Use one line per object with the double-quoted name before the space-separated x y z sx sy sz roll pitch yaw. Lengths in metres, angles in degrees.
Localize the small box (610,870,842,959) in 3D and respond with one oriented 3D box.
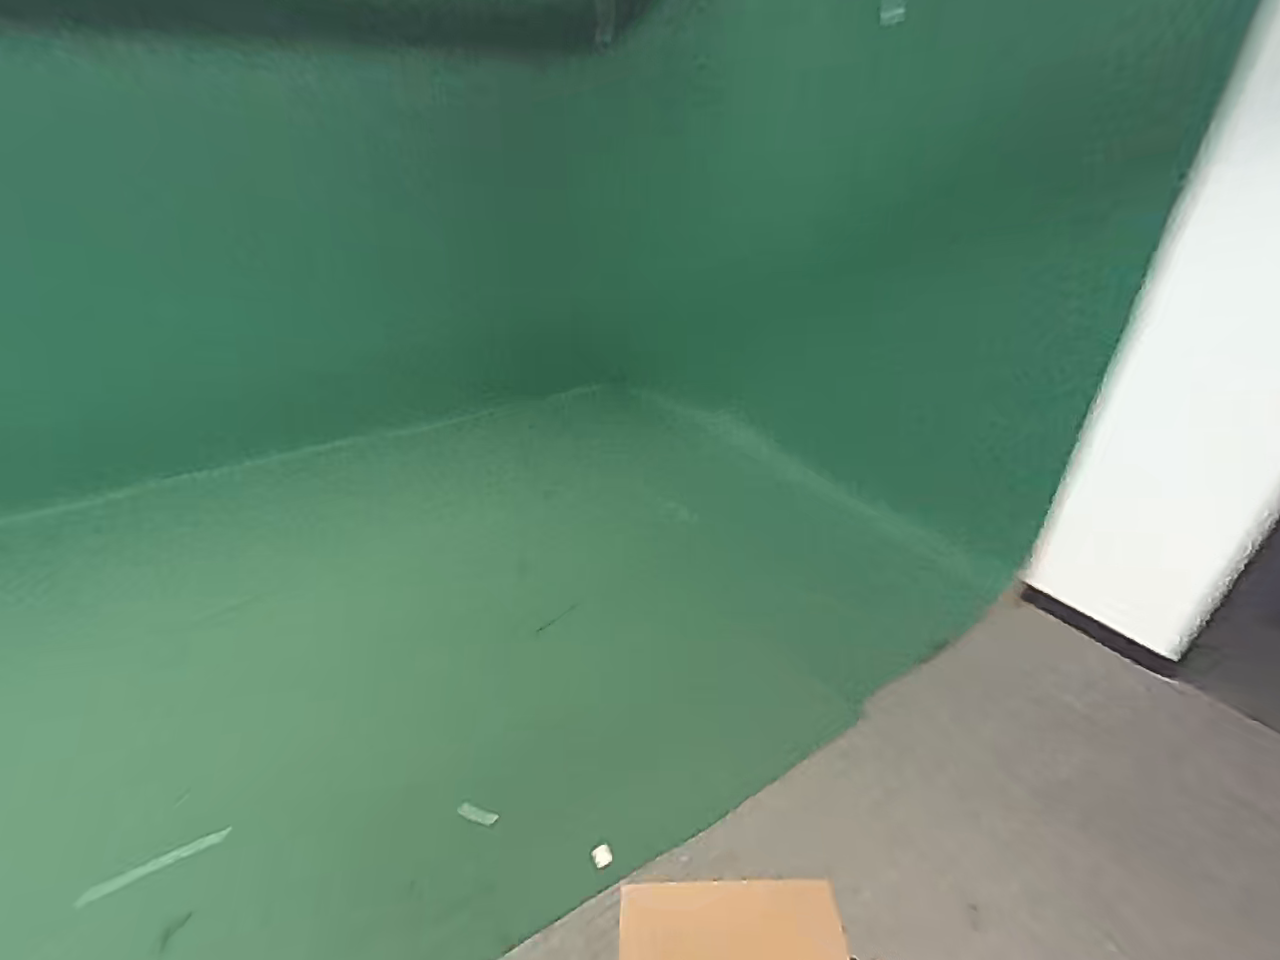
"small box" 0.061 0.420 0.391 0.168 0.176 0.179 -2 33 1
